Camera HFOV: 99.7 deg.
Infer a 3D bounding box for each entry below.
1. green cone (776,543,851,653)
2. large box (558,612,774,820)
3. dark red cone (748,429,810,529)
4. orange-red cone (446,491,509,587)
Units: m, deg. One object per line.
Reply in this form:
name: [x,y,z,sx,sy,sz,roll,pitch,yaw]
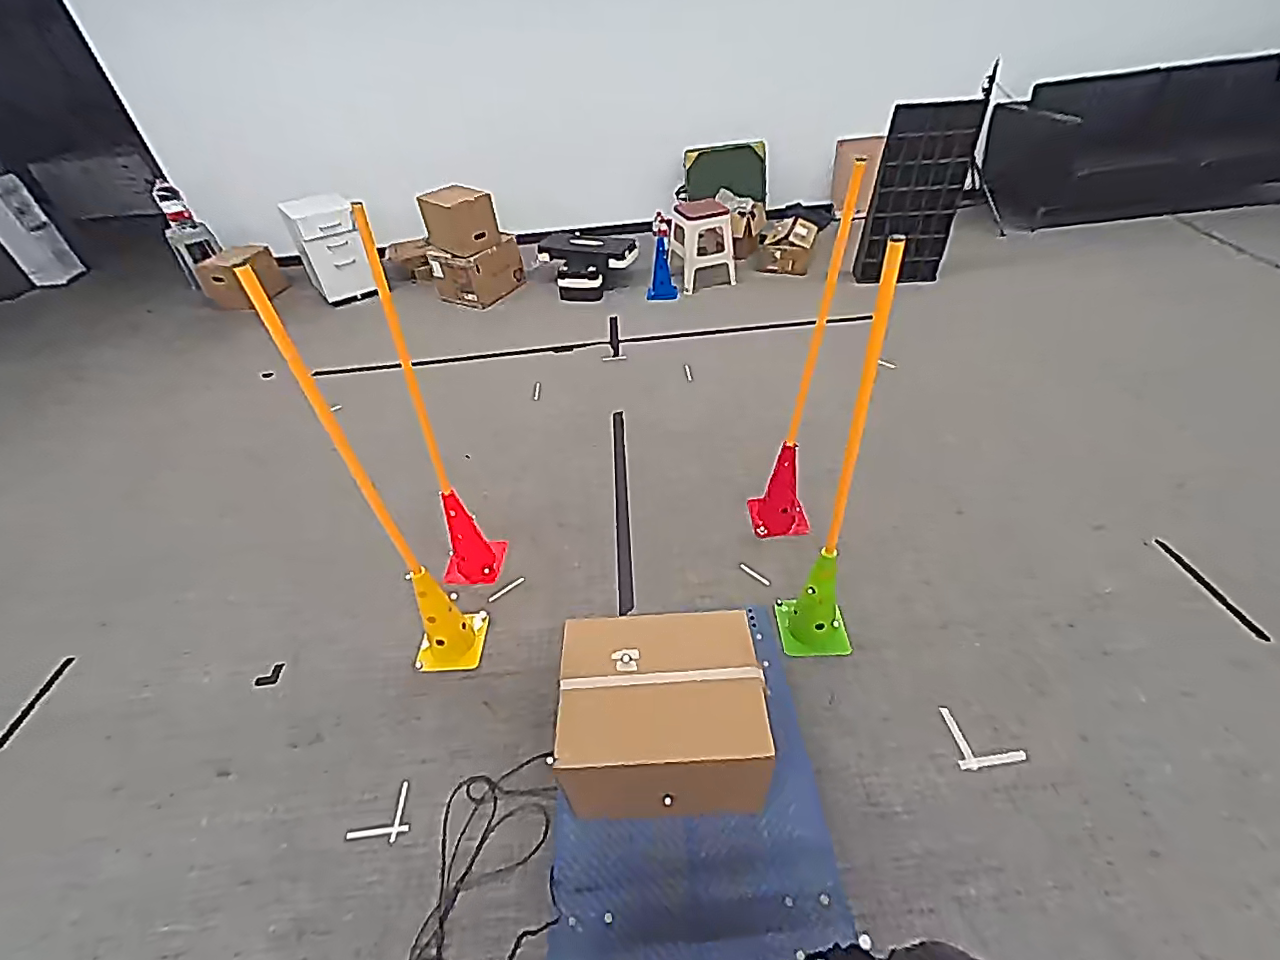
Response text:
green cone: [0.528,0.323,1.576,0.202,0.368,0.200,-3,42,2]
large box: [0.055,0.521,1.190,0.408,0.320,0.320,-5,42,2]
dark red cone: [0.513,-0.012,1.928,0.201,0.394,0.202,-5,42,-1]
orange-red cone: [-0.604,0.179,1.873,0.198,0.360,0.199,0,40,5]
